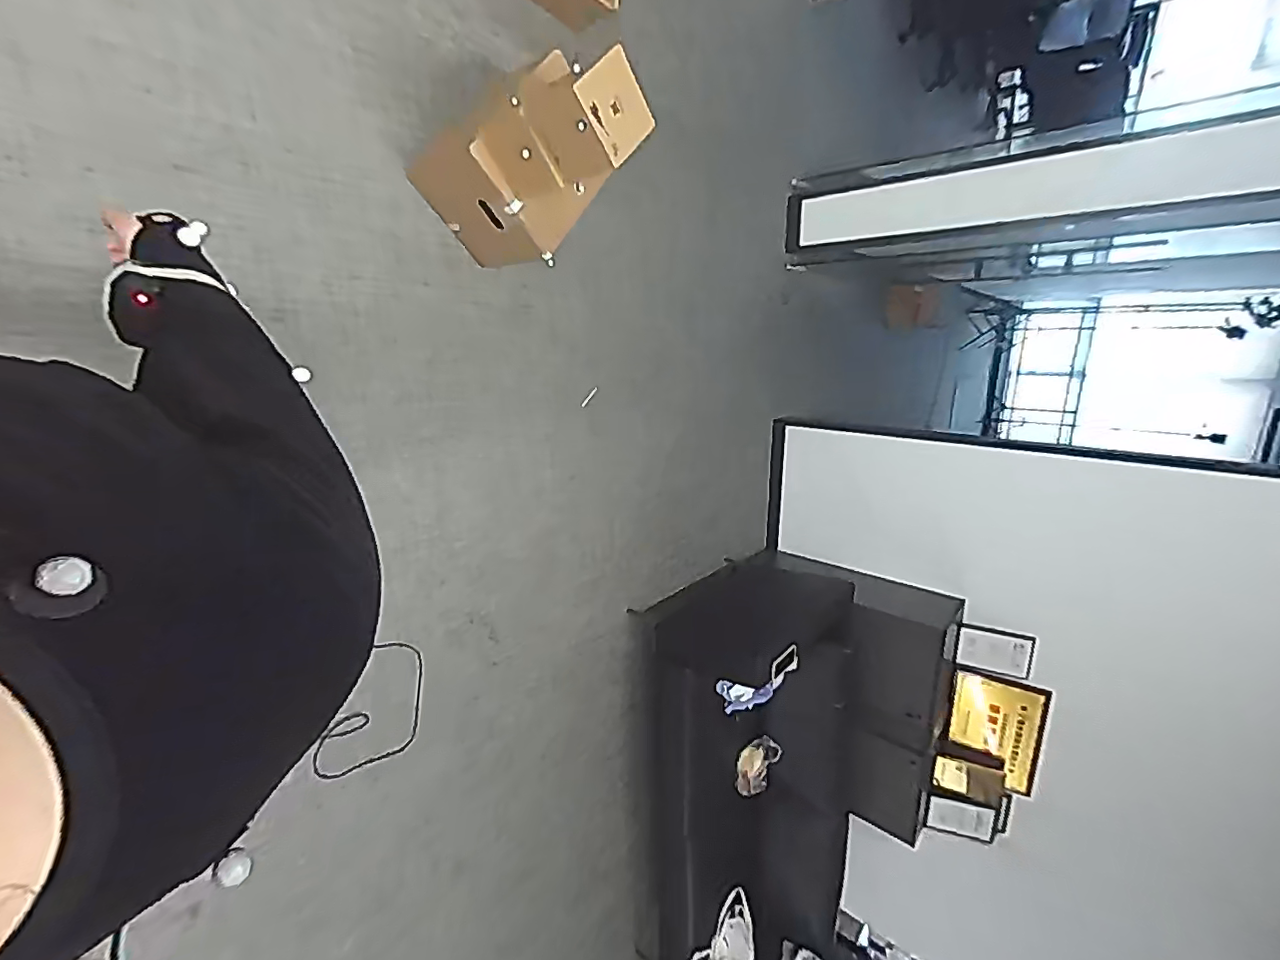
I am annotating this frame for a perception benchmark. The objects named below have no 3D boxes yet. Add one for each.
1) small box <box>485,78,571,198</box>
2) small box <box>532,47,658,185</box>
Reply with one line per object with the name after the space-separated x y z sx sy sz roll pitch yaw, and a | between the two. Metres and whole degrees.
-0.224 -0.789 1.270 0.168 0.176 0.179 -54 131 -24 | small box
-0.098 -0.775 1.164 0.179 0.176 0.168 -58 133 -22 | small box
